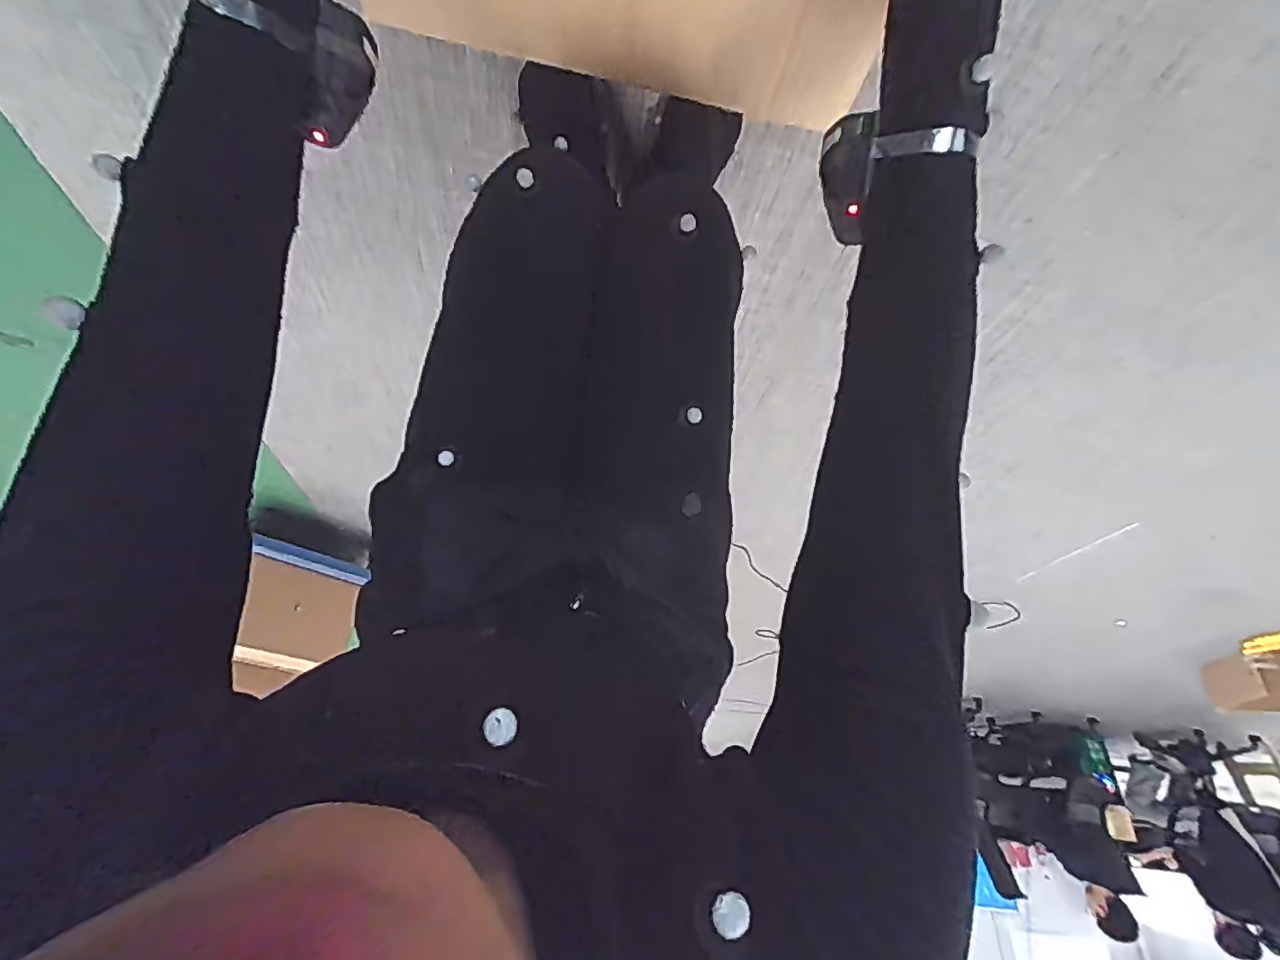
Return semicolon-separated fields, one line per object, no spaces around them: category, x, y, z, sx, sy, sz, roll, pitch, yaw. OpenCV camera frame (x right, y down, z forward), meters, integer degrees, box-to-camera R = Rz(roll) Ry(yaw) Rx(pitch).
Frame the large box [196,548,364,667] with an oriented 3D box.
large box;-1.332;0.485;2.019;0.408;0.320;0.320;30;142;-35
